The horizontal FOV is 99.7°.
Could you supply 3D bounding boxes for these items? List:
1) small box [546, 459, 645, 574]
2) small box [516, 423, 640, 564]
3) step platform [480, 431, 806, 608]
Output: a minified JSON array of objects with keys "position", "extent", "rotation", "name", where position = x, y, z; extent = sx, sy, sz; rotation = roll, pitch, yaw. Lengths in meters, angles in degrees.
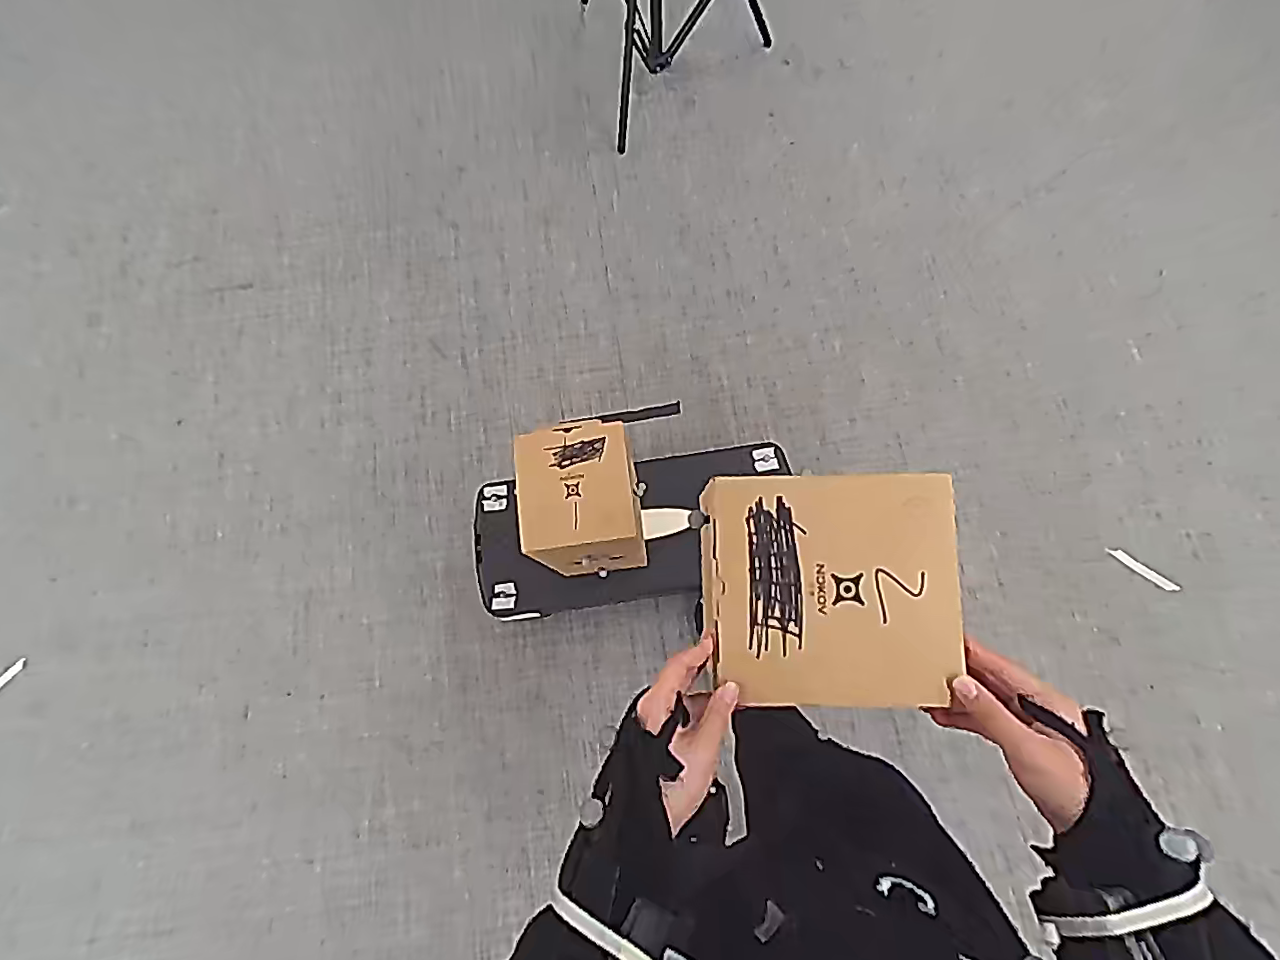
[{"position":[-0.083,0.074,1.011],"extent":[0.168,0.176,0.179],"rotation":[-7,75,1],"name":"small box"},{"position":[-0.092,0.029,0.854],"extent":[0.168,0.176,0.179],"rotation":[-8,75,1],"name":"small box"},{"position":[0.005,0.090,1.183],"extent":[0.684,0.204,0.286],"rotation":[-9,74,1],"name":"step platform"}]
